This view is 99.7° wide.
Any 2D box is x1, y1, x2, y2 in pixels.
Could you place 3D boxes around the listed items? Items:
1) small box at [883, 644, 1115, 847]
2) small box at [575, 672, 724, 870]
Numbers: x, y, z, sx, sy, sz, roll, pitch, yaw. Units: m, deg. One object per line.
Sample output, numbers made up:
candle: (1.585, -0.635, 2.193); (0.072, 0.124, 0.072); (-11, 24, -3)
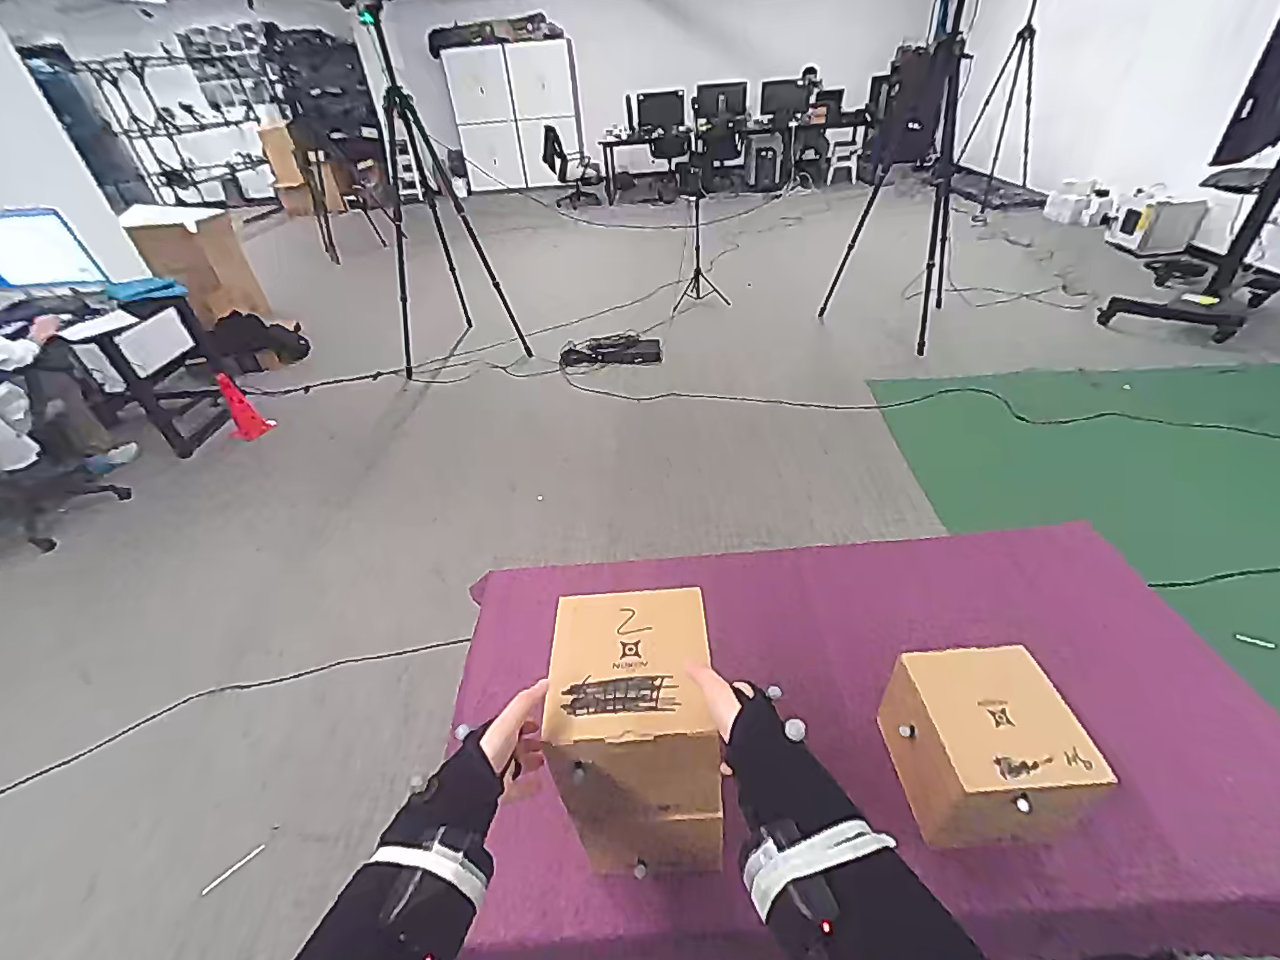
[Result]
small box: (0.434, 0.338, 0.695); (0.168, 0.176, 0.179); (-5, 37, 2)
small box: (0.016, 0.376, 0.704); (0.168, 0.176, 0.179); (-4, 39, 3)
